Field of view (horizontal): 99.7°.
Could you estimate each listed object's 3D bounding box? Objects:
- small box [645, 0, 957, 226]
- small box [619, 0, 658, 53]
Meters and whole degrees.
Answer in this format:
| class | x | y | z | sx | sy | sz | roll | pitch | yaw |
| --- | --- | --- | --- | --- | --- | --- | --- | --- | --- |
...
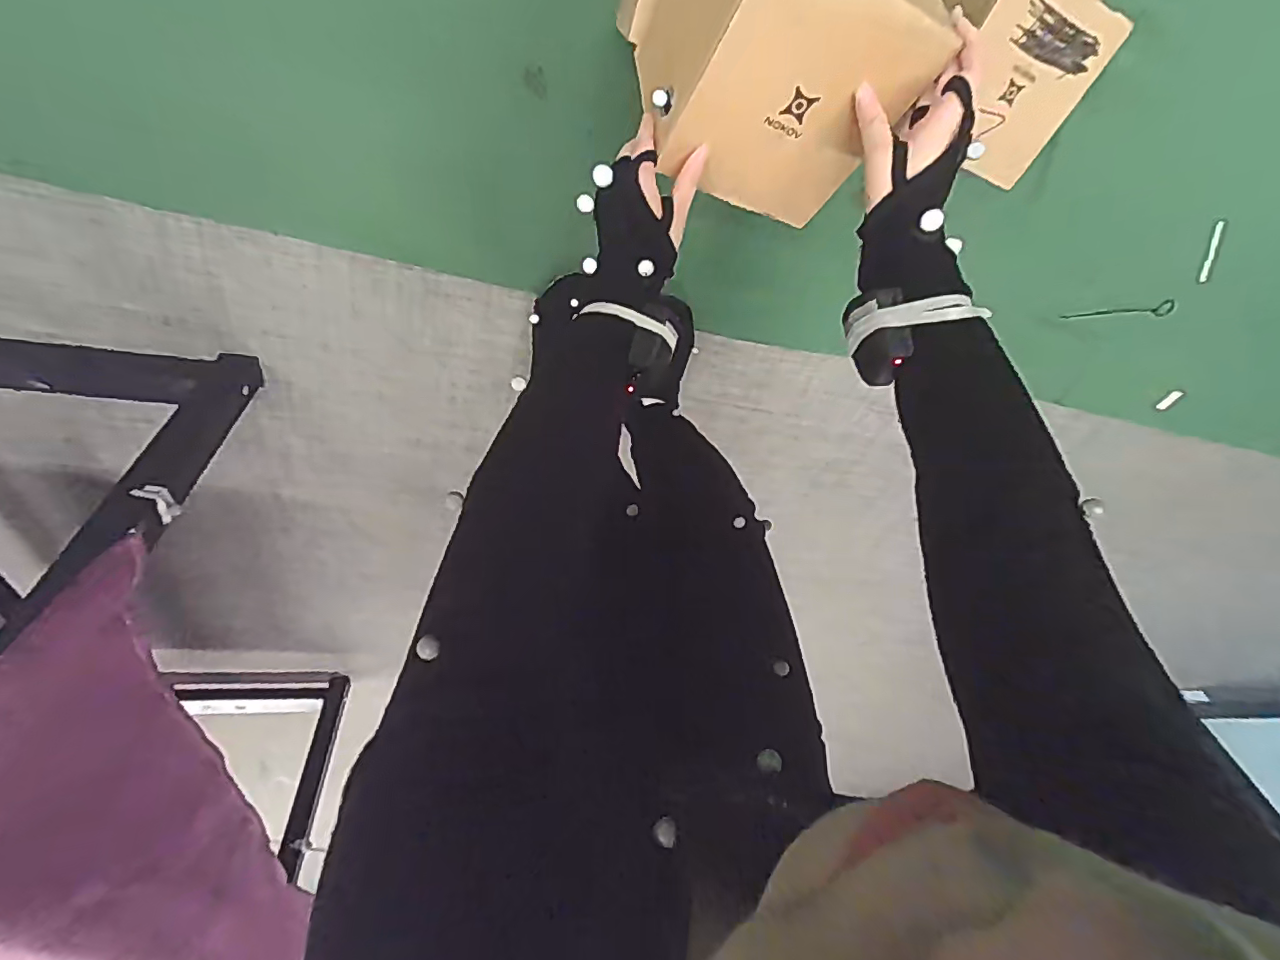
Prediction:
| class | x | y | z | sx | sy | sz | roll | pitch | yaw |
| --- | --- | --- | --- | --- | --- | --- | --- | --- | --- |
| small box | 0.112 | -0.360 | 0.450 | 0.168 | 0.176 | 0.179 | 7 | 155 | -25 |
| small box | 0.085 | -0.534 | 0.570 | 0.179 | 0.176 | 0.168 | 10 | 131 | -16 |
